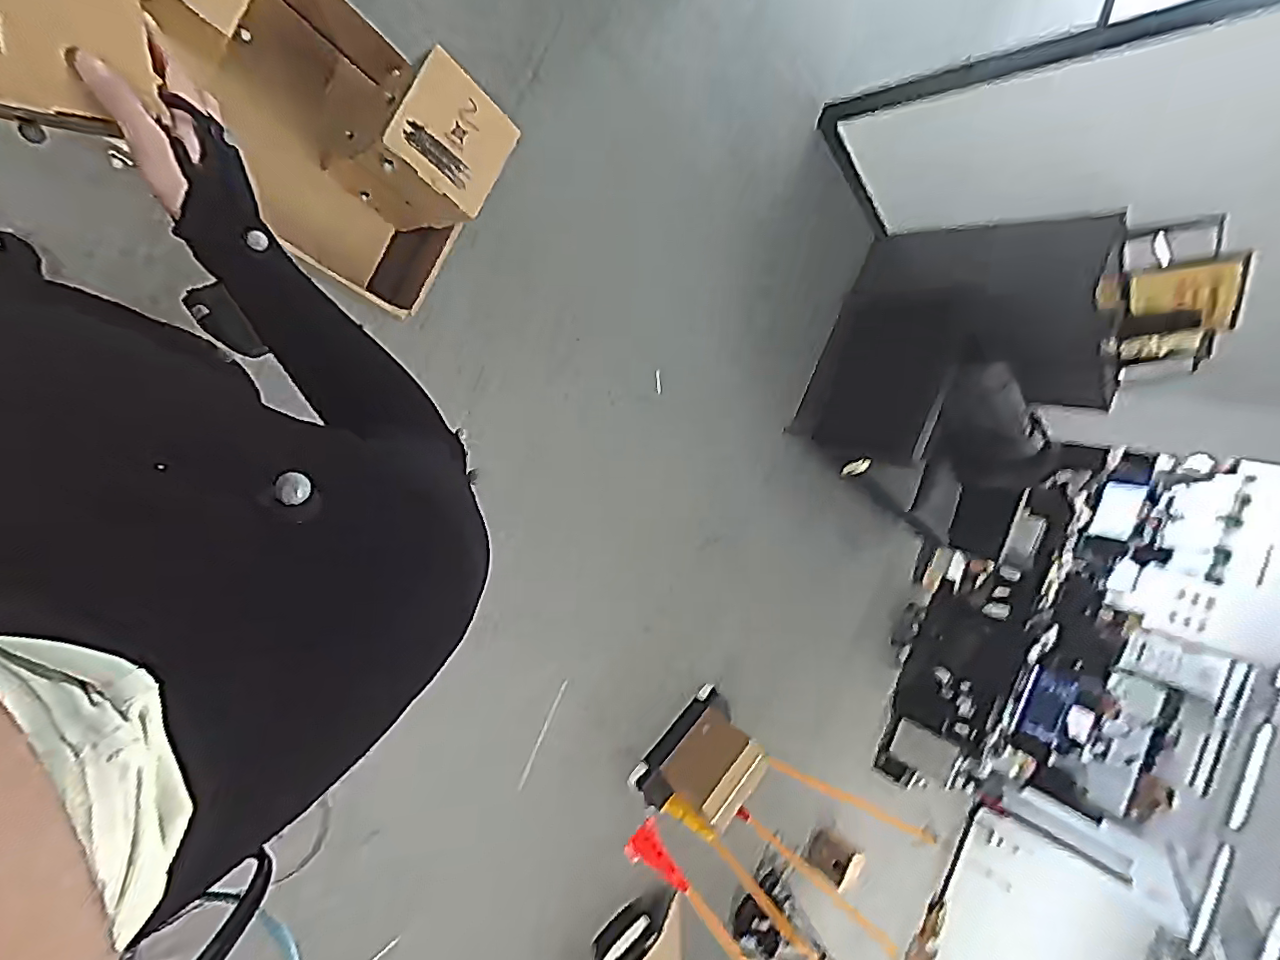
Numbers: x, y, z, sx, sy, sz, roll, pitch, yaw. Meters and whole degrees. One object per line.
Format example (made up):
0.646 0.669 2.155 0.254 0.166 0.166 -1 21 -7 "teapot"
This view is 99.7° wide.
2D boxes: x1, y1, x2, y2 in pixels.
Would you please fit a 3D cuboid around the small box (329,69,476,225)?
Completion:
-0.447 -0.605 1.007 0.168 0.176 0.179 32 83 -45 "small box"

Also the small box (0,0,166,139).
-0.476 -0.372 0.396 0.168 0.176 0.179 -12 119 -38 "small box"
